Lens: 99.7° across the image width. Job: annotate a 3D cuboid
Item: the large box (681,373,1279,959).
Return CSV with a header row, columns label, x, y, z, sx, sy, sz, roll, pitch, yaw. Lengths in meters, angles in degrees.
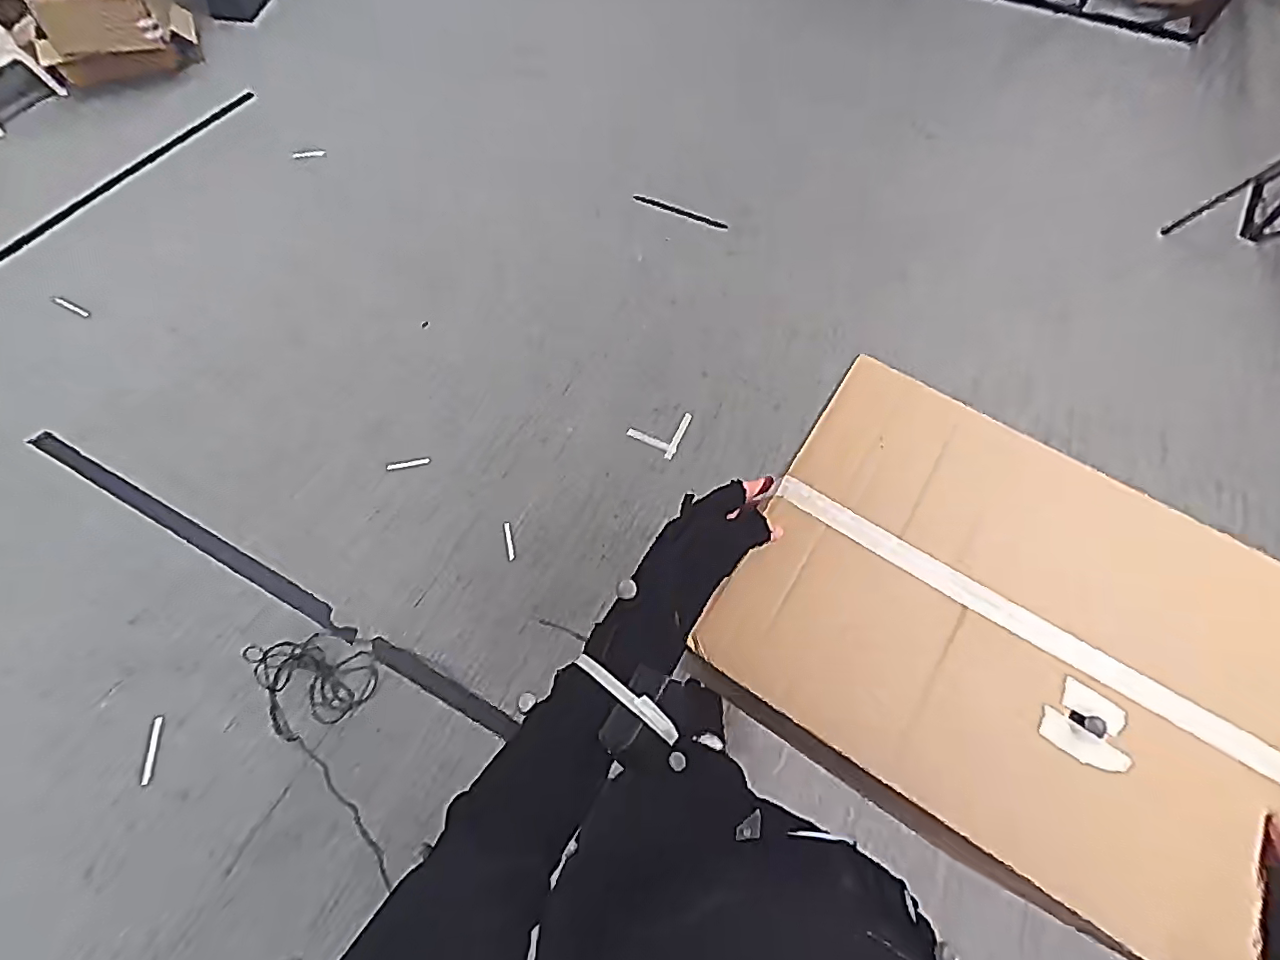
label,x,y,z,sx,sy,sz,roll,pitch,yaw
large box,0.295,0.165,0.568,0.408,0.320,0.320,32,74,12
